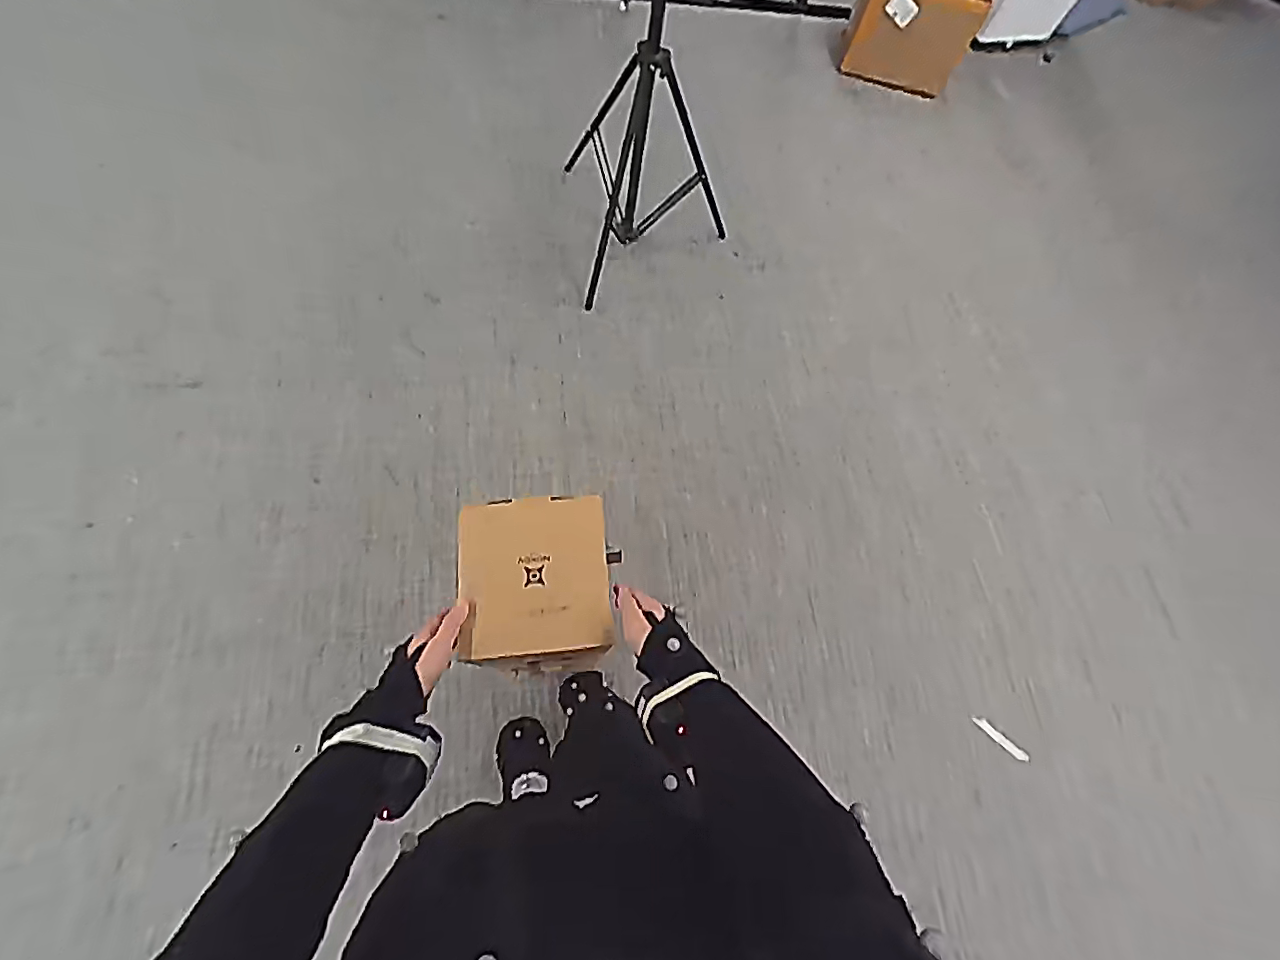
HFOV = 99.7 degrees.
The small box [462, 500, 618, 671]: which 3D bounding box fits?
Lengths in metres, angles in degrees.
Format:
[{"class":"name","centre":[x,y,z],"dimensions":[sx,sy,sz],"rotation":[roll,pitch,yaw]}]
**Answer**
[{"class":"small box","centre":[-0.122,0.137,0.673],"dimensions":[0.168,0.176,0.179],"rotation":[-4,71,-8]}]
